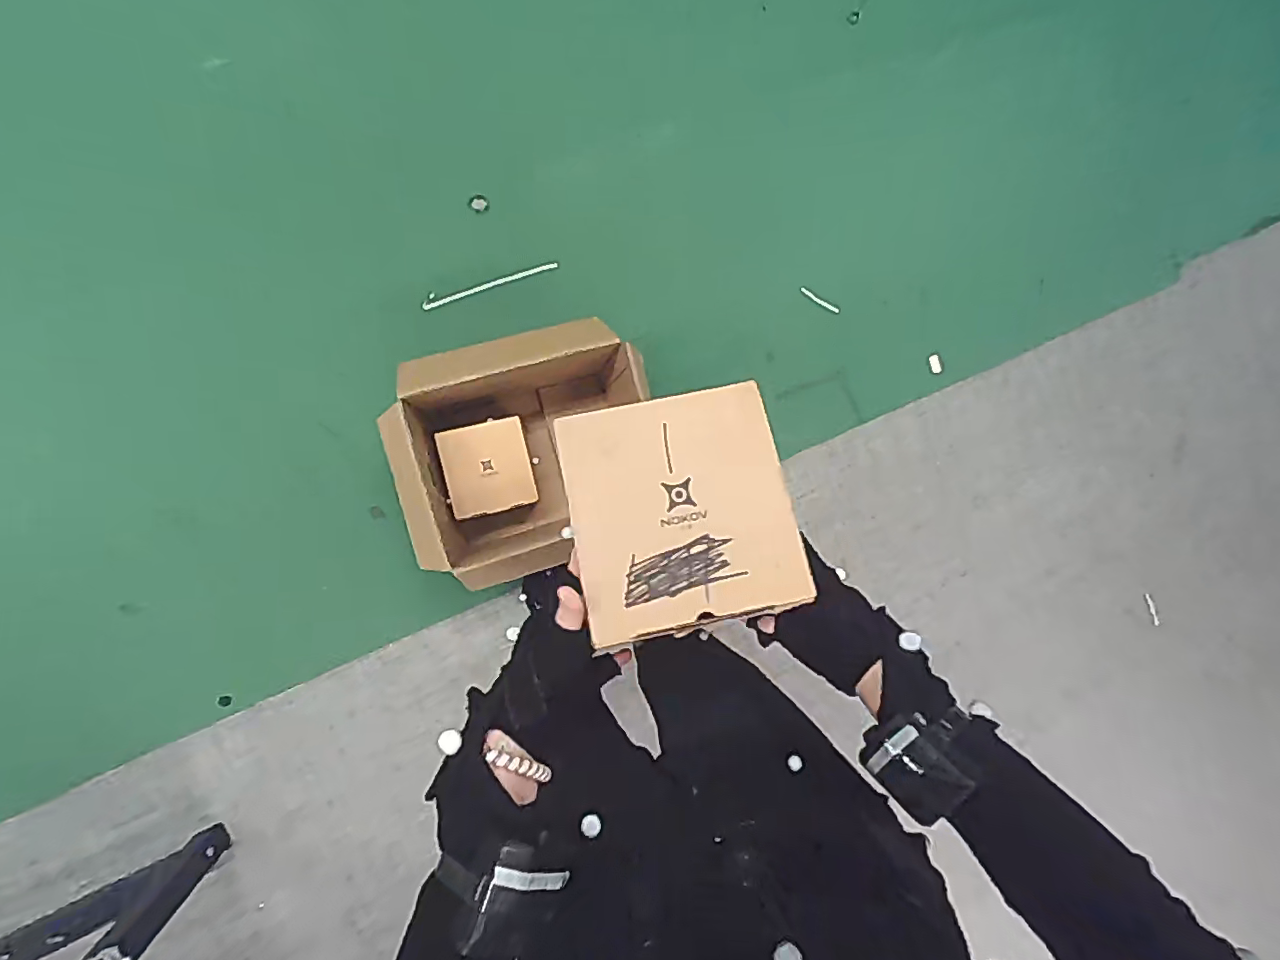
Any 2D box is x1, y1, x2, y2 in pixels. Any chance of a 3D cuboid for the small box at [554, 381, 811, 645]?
[{"bbox_3d":[0.029,0.036,0.481,0.168,0.176,0.179,-11,78,-4],"label":"small box"}]
